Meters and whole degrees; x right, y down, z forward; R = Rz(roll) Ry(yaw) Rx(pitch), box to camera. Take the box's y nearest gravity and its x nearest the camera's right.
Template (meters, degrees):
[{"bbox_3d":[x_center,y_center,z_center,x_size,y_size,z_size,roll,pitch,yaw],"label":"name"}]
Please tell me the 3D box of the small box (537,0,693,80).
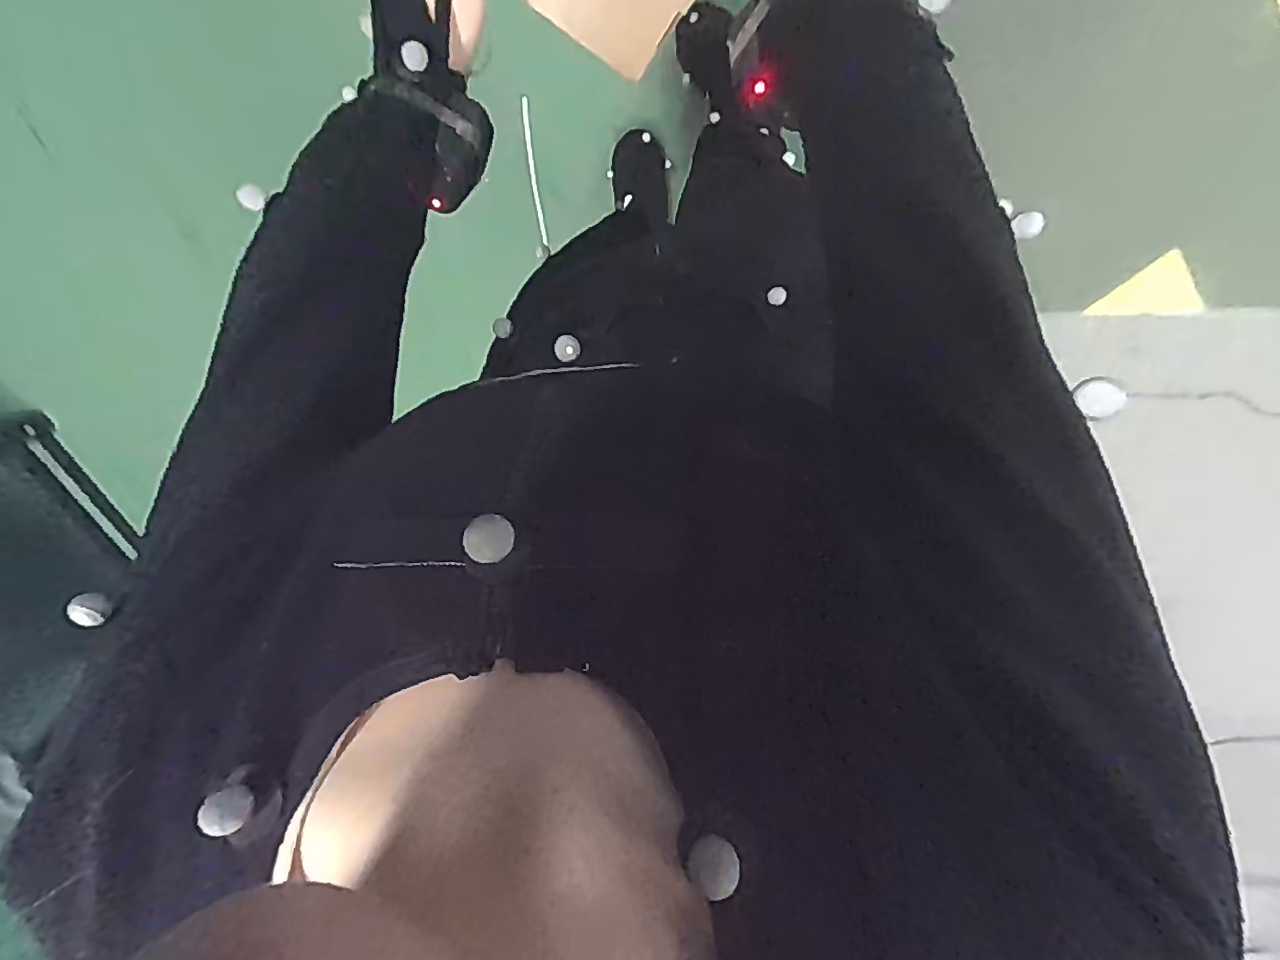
[{"bbox_3d":[-0.024,-0.463,0.397,0.179,0.176,0.168,19,144,-31],"label":"small box"}]
